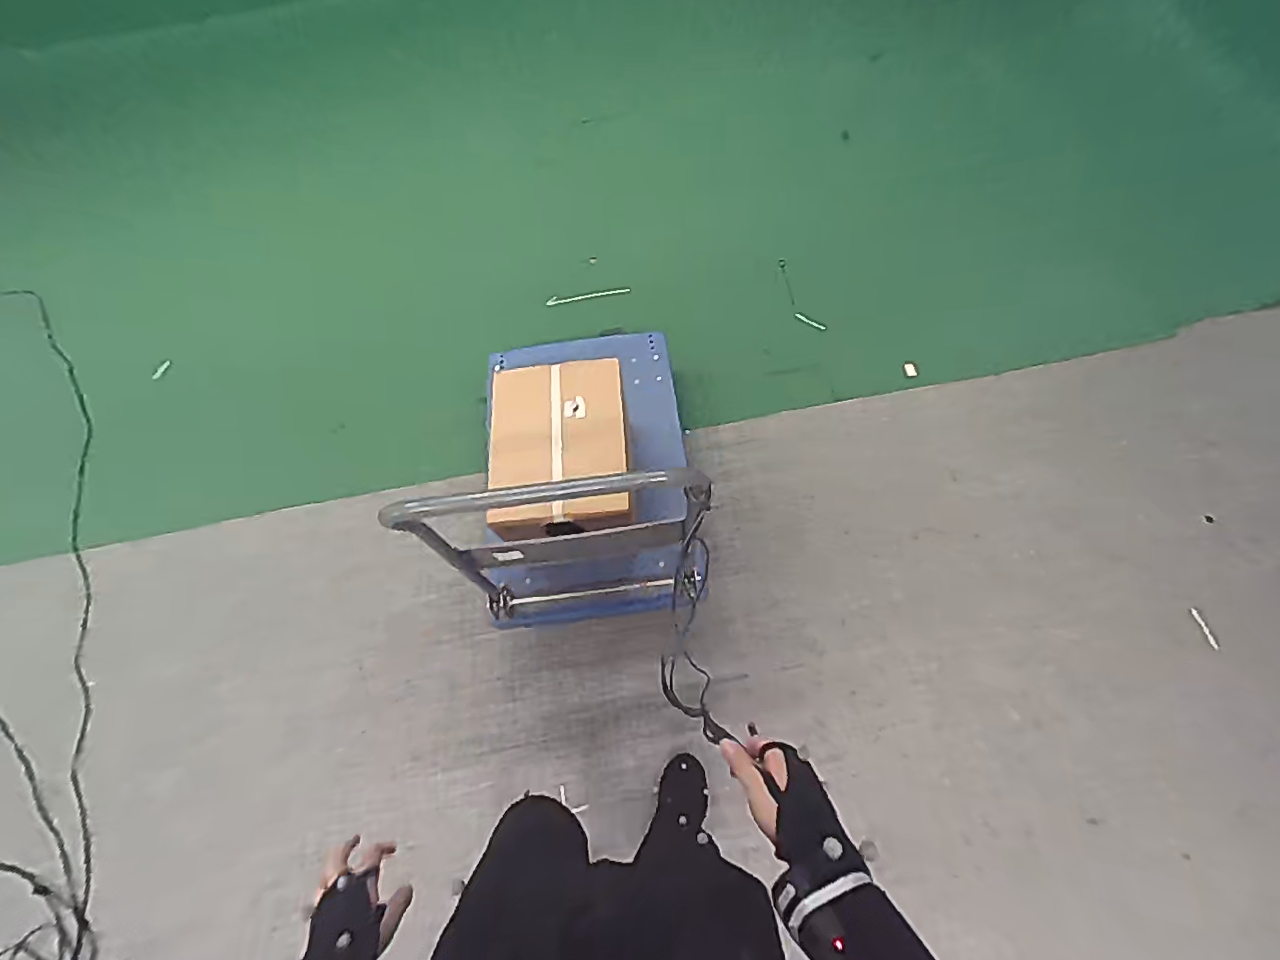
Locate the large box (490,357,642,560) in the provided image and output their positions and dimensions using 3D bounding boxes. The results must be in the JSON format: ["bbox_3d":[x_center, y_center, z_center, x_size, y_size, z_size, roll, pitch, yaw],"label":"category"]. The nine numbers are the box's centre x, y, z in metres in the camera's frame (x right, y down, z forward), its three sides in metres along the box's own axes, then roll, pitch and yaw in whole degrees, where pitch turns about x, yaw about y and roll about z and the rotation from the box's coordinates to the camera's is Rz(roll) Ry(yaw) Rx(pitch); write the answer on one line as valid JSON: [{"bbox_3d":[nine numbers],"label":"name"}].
[{"bbox_3d":[-0.173,-0.043,1.367,0.320,0.320,0.408,-5,64,2],"label":"large box"}]
